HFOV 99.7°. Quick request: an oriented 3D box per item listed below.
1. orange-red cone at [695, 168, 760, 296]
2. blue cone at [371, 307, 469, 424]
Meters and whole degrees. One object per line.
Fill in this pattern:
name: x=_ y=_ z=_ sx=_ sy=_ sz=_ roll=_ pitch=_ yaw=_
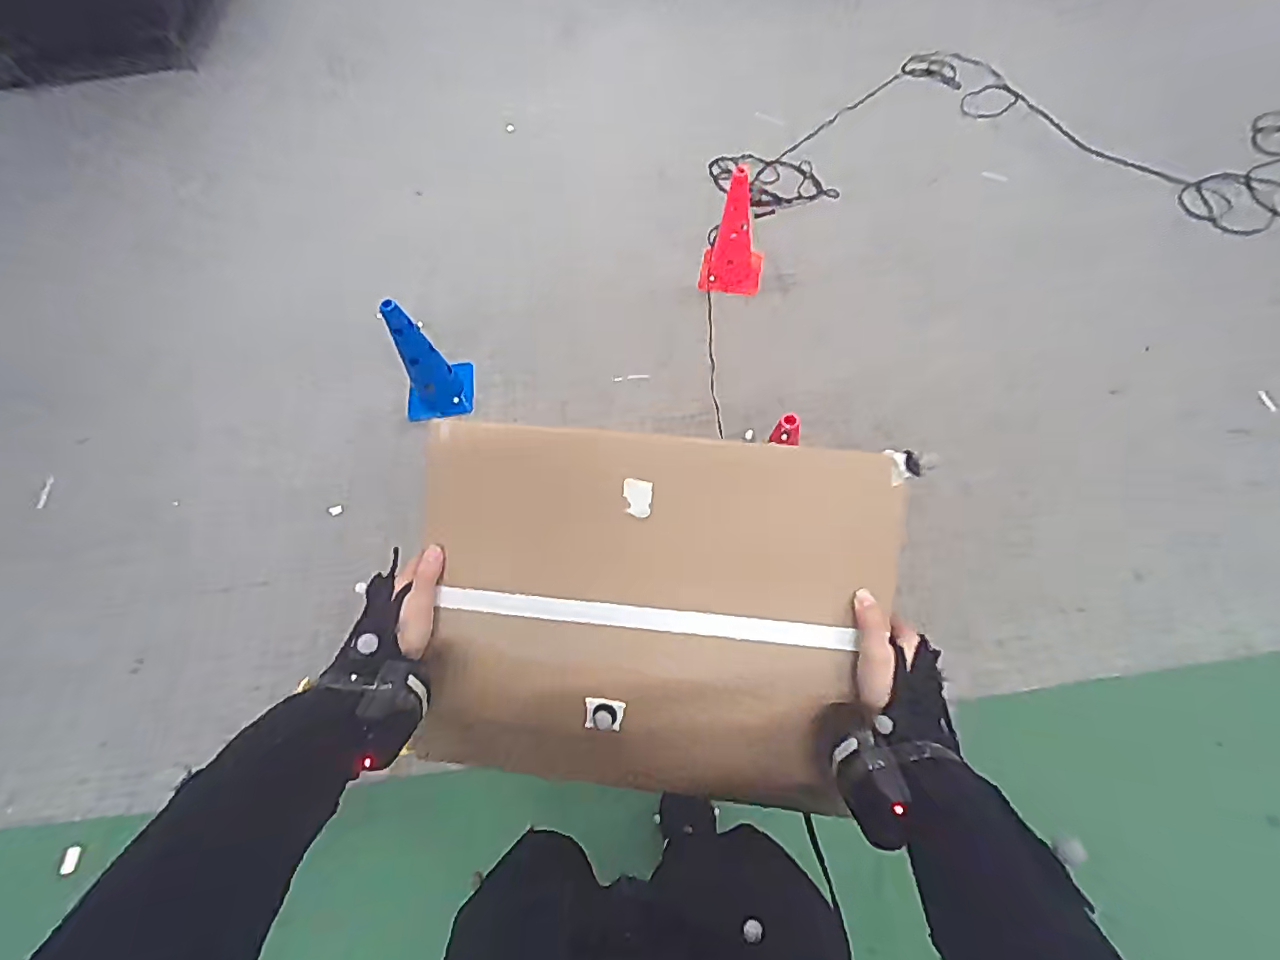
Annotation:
orange-red cone: x=0.286 y=-0.777 z=1.662 sx=0.199 sy=0.360 sz=0.198 roll=10 pitch=64 yaw=9
blue cone: x=-0.635 y=-0.340 z=1.525 sx=0.192 sy=0.380 sz=0.193 roll=-8 pitch=61 yaw=1
